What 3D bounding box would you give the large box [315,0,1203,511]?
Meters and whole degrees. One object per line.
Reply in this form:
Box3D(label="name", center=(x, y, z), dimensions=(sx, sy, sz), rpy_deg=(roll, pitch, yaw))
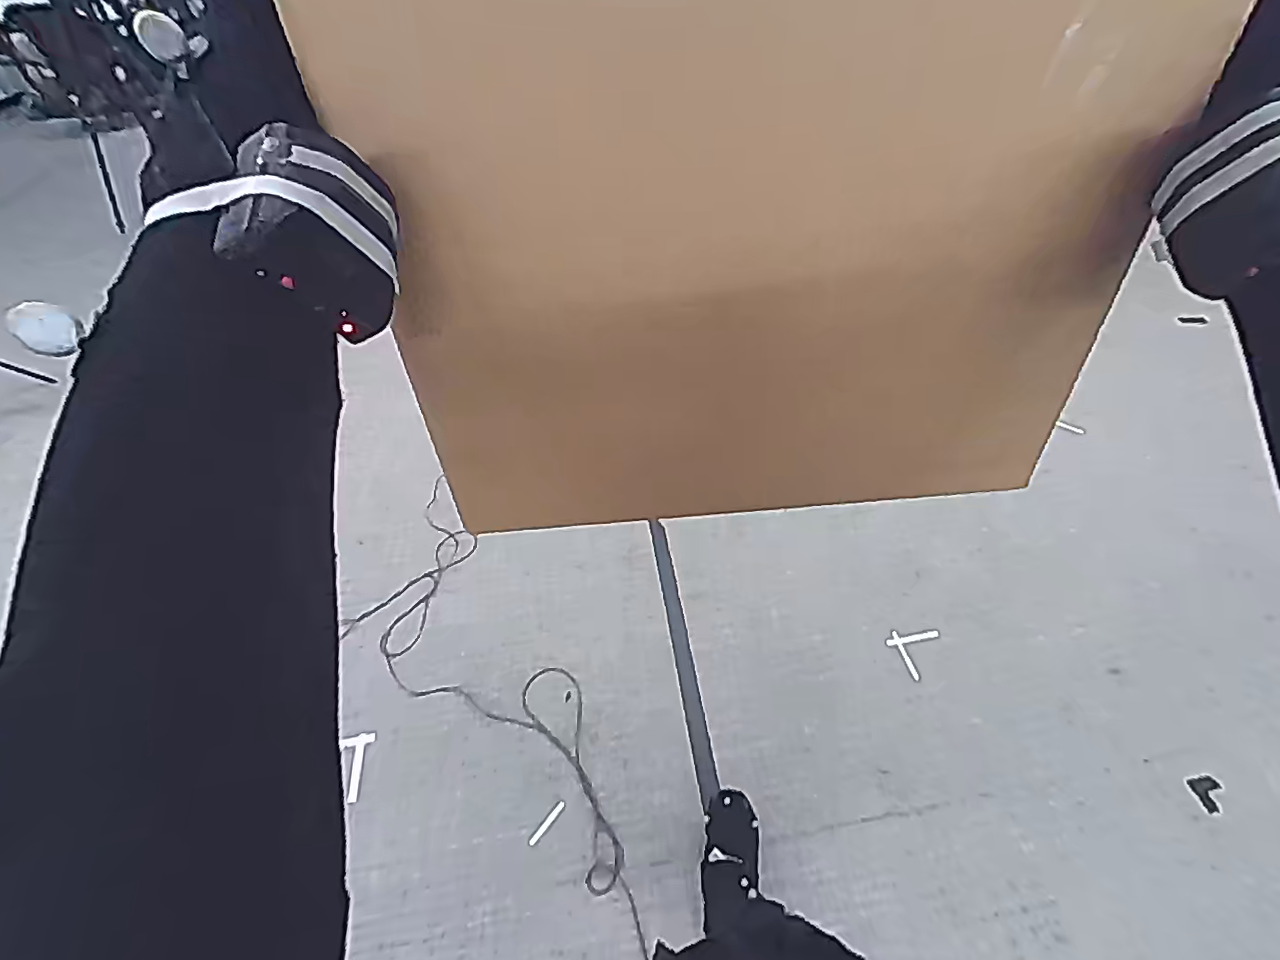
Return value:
Box3D(label="large box", center=(0.055, -0.200, 0.422), dimensions=(0.408, 0.320, 0.320), rpy_deg=(-5, 38, -1))
